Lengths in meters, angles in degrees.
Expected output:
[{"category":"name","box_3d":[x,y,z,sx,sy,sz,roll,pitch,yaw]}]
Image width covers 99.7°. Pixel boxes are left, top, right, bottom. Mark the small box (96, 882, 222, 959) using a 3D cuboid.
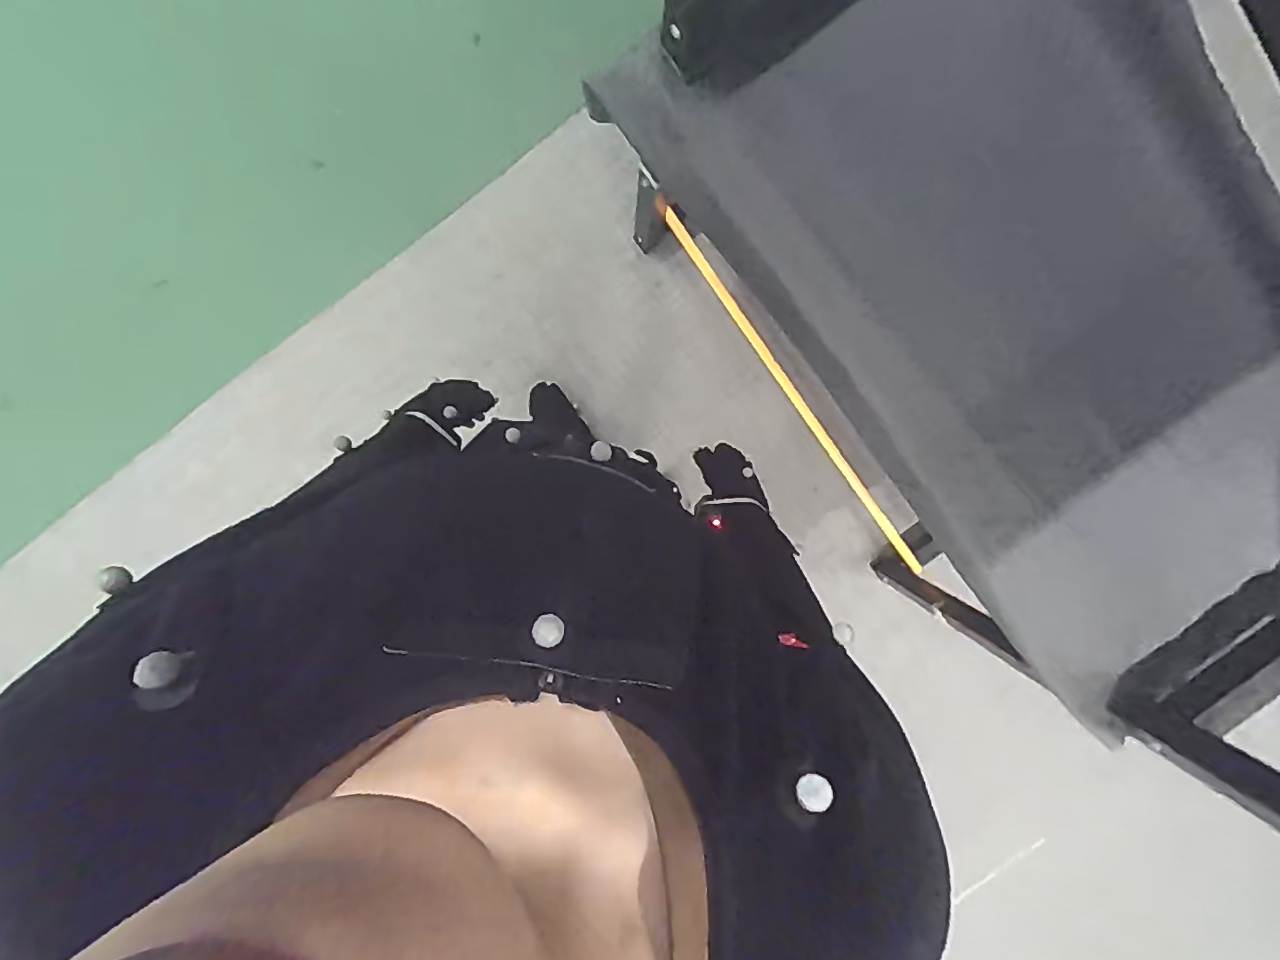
[{"category":"small box","box_3d":[-1.334,1.285,1.505,0.179,0.176,0.168,-36,98,2]}]
